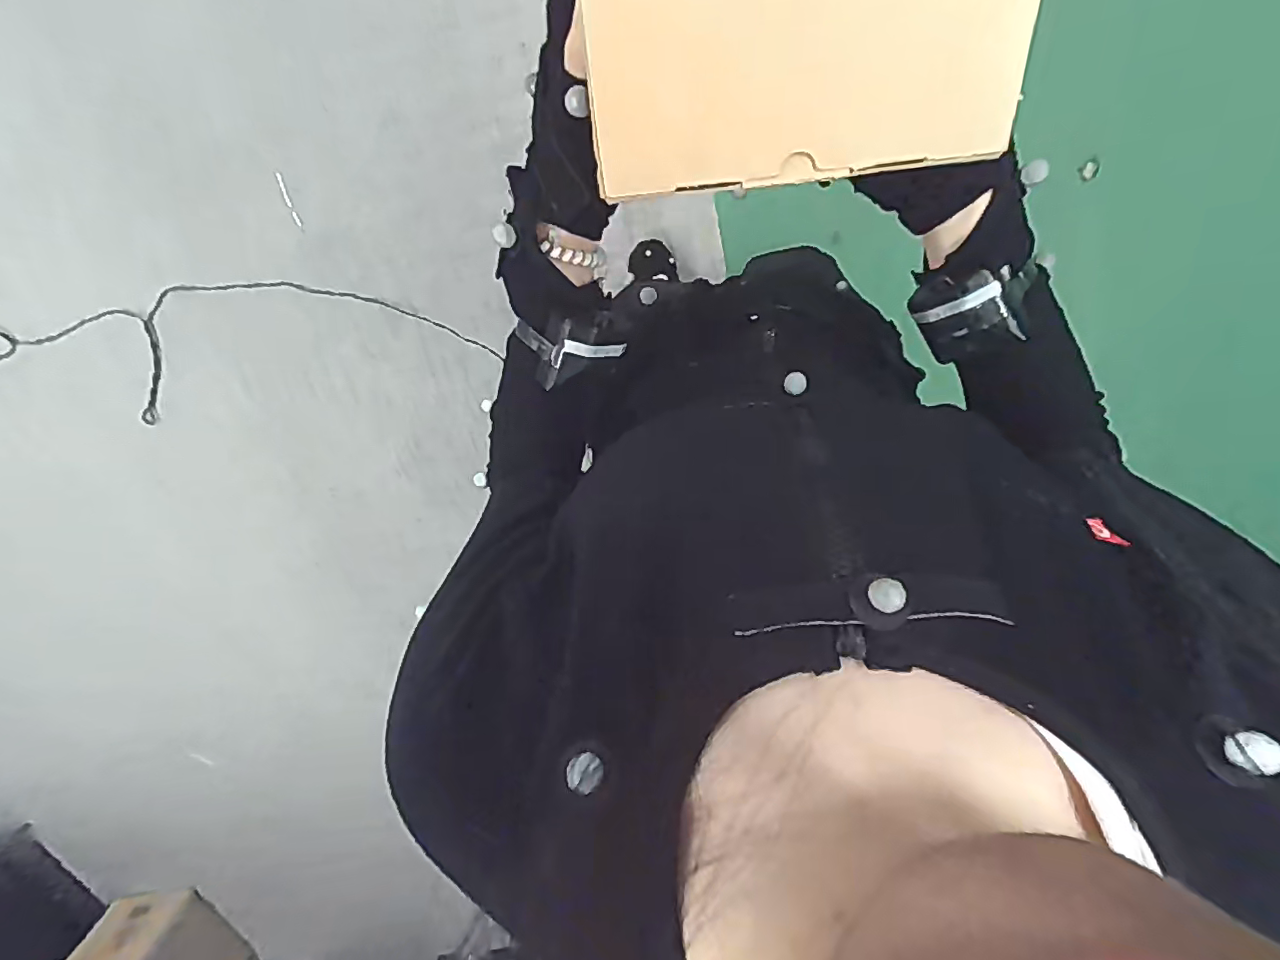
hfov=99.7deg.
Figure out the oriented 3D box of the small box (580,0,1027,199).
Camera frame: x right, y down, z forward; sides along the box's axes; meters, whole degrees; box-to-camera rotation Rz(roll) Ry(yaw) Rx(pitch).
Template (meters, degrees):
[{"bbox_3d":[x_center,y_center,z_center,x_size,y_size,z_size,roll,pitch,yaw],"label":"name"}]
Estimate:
[{"bbox_3d":[0.060,-0.243,0.254,0.168,0.176,0.179,-4,122,7],"label":"small box"}]
